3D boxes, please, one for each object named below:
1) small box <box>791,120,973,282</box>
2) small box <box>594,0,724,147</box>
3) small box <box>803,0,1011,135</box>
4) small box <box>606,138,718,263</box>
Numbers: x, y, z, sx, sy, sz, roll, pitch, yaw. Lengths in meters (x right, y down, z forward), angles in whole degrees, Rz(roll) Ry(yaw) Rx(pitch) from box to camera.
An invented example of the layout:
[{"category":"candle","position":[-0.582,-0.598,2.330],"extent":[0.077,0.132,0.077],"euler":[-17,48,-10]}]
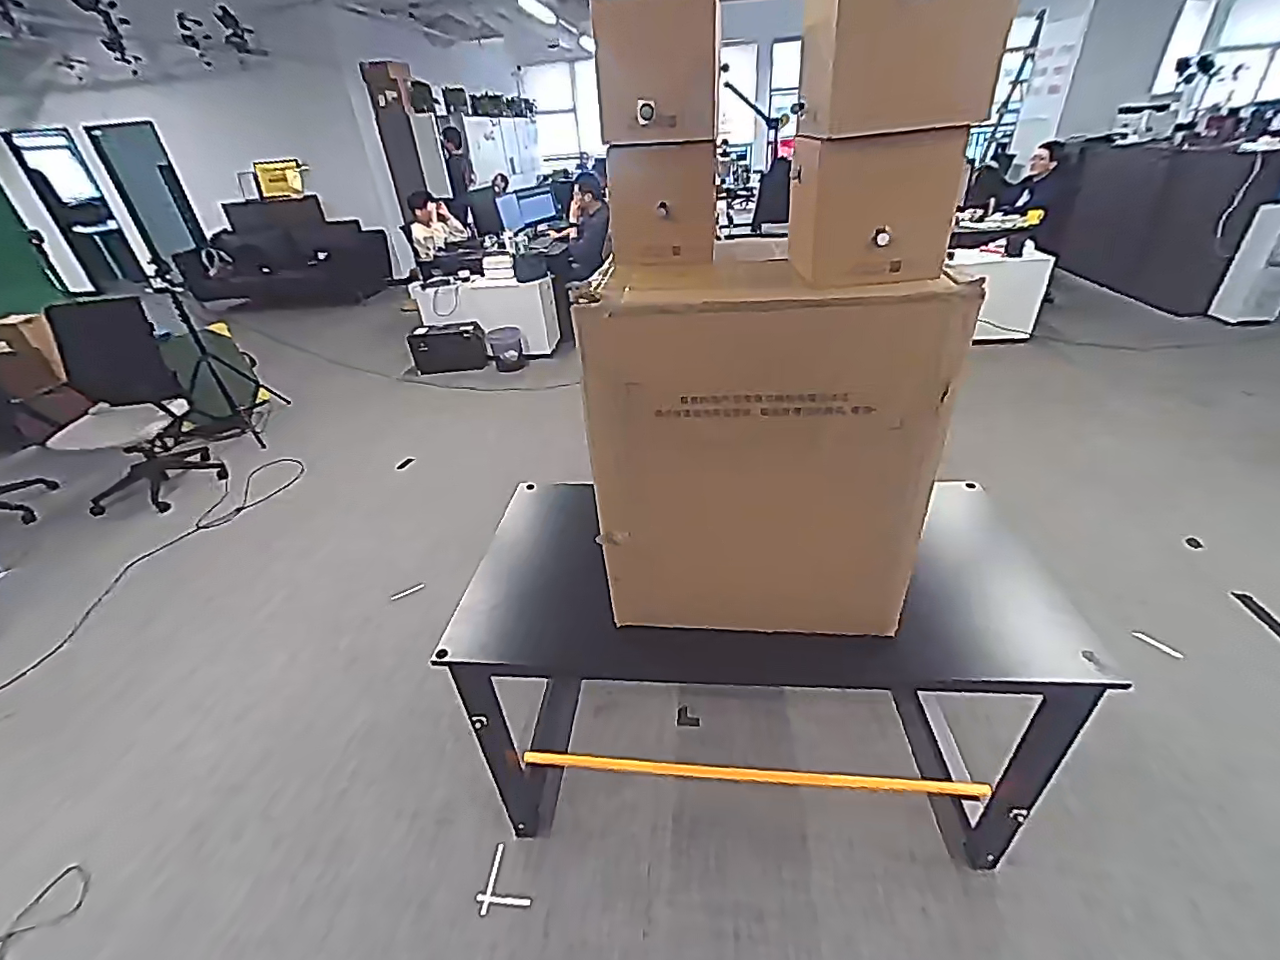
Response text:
[{"category":"small box","position":[0.300,-0.369,0.716],"extent":[0.168,0.176,0.179],"euler":[-3,34,6]},{"category":"small box","position":[0.036,-0.589,0.791],"extent":[0.168,0.176,0.179],"euler":[1,33,9]},{"category":"small box","position":[0.287,-0.493,0.606],"extent":[0.179,0.176,0.168],"euler":[-3,34,4]},{"category":"small box","position":[0.044,-0.460,0.892],"extent":[0.168,0.176,0.179],"euler":[1,33,7]}]
